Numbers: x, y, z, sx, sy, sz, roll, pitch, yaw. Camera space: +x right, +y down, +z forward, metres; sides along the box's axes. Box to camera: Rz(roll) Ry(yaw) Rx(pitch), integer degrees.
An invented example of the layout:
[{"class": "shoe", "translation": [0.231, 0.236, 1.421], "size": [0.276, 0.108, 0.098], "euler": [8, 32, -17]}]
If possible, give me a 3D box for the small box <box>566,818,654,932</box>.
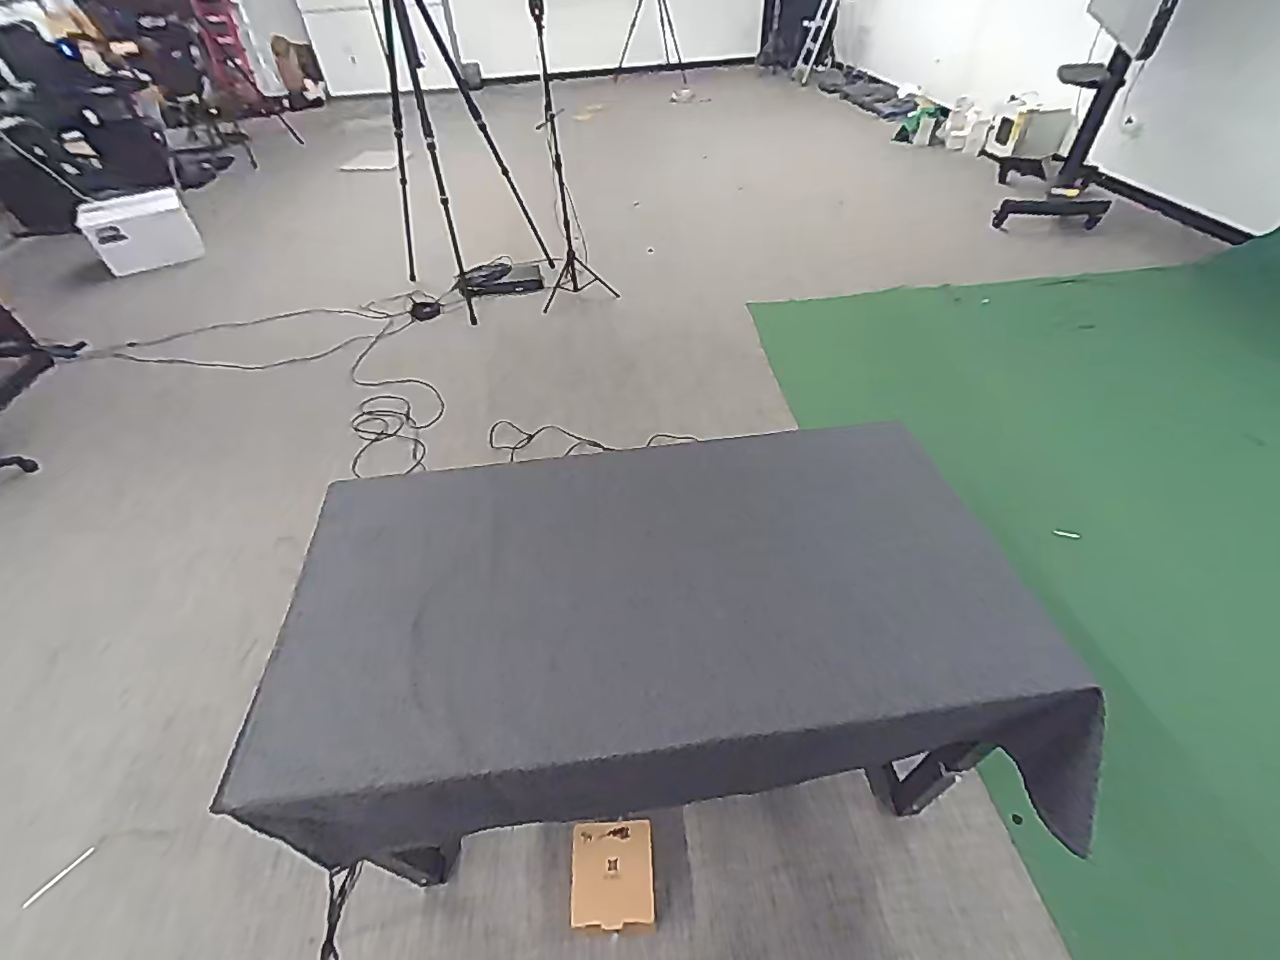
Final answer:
[{"class": "small box", "translation": [-0.059, 0.839, 1.144], "size": [0.168, 0.176, 0.179], "euler": [-4, 46, 0]}]
